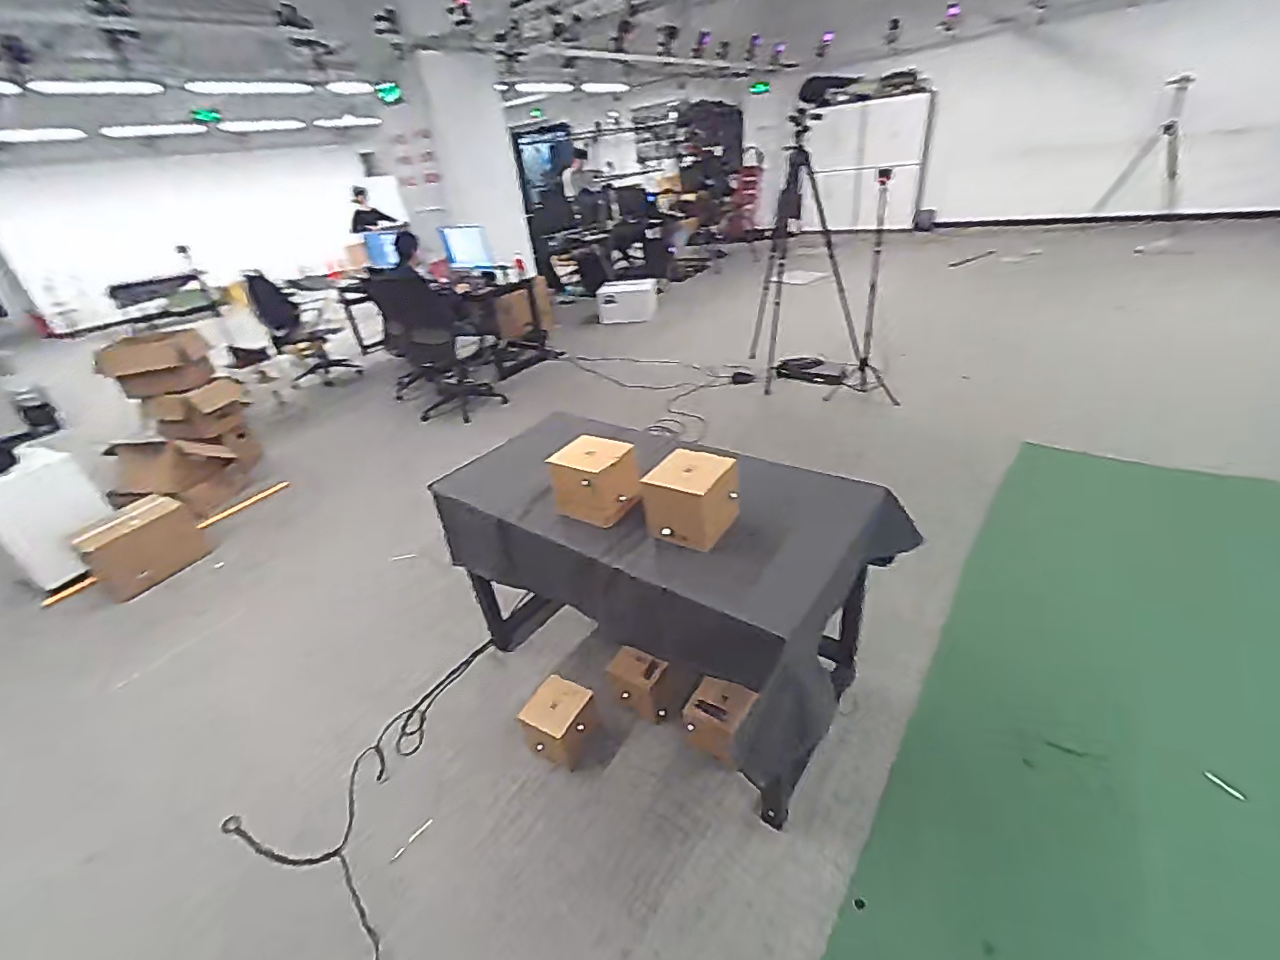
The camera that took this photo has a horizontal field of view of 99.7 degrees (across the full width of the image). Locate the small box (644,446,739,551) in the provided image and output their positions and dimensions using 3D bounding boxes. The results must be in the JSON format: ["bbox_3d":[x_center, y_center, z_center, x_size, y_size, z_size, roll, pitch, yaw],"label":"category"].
[{"bbox_3d":[0.128,0.042,1.308,0.168,0.176,0.179,14,37,33],"label":"small box"}]

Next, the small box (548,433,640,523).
[{"bbox_3d":[-0.117,-0.006,1.442,0.179,0.176,0.168,14,37,31],"label":"small box"}]

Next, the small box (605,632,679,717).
[{"bbox_3d":[0.014,0.636,1.760,0.179,0.176,0.168,15,37,34],"label":"small box"}]
